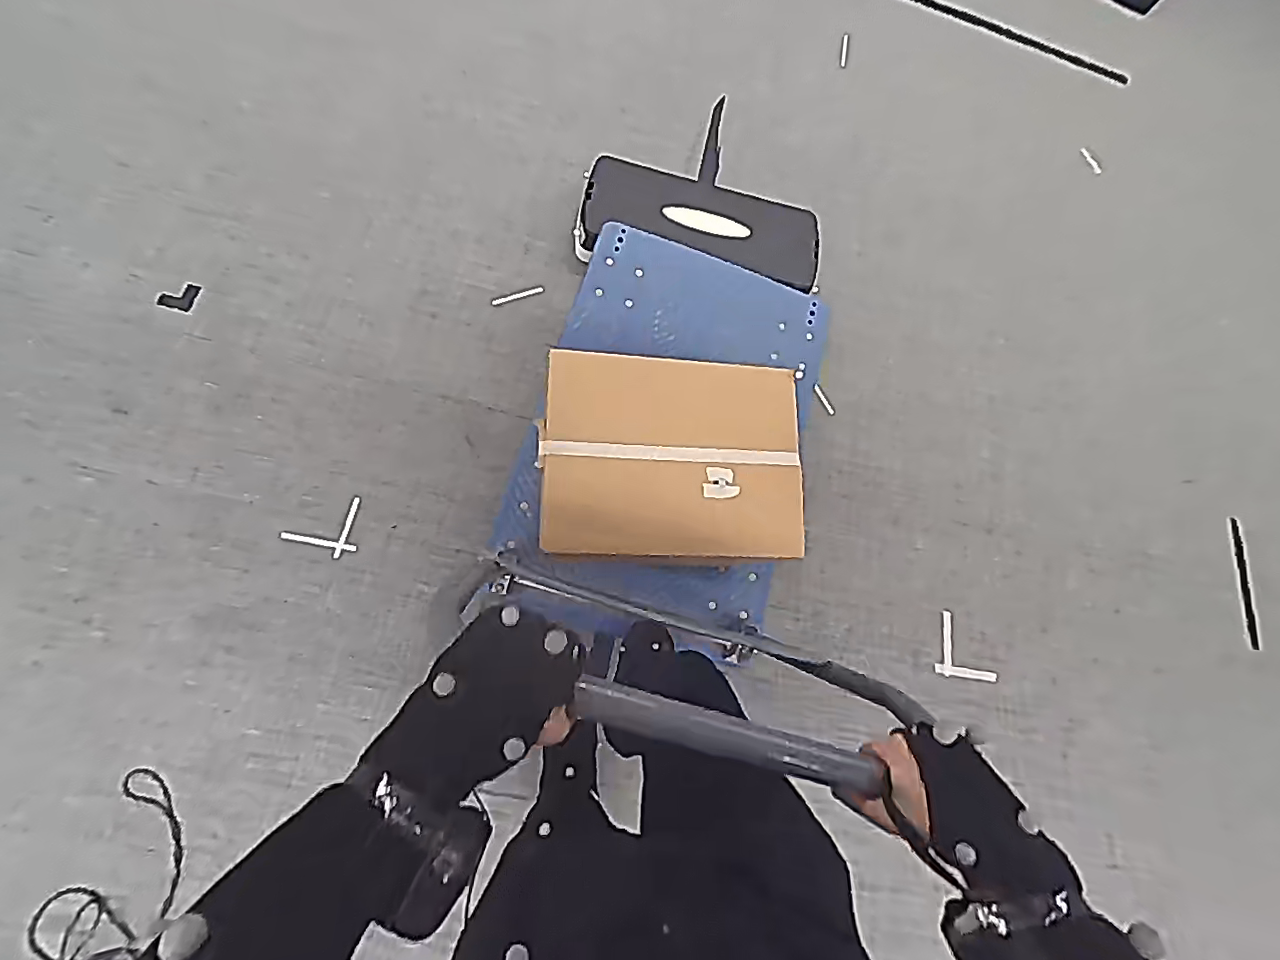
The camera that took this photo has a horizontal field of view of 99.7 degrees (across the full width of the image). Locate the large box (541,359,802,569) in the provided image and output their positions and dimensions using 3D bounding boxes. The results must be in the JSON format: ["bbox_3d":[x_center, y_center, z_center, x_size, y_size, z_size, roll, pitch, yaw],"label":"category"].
[{"bbox_3d":[0.028,-0.002,0.980,0.408,0.320,0.320,2,79,-11],"label":"large box"}]
